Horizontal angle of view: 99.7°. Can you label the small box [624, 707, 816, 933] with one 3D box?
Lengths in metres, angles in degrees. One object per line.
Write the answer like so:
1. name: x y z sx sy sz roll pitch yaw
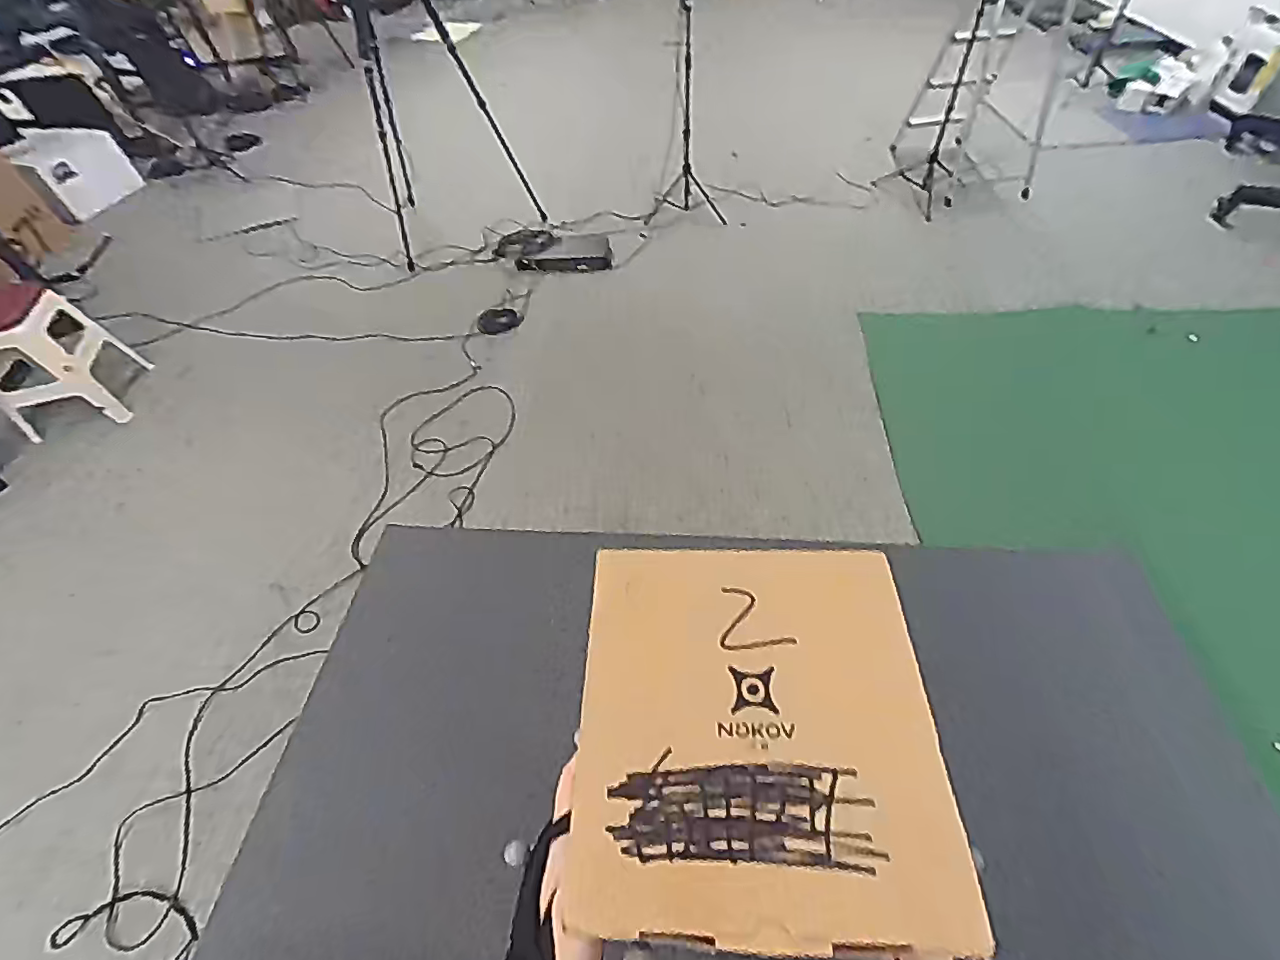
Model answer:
1. small box: 0.077 0.359 0.572 0.168 0.176 0.179 -1 50 5
